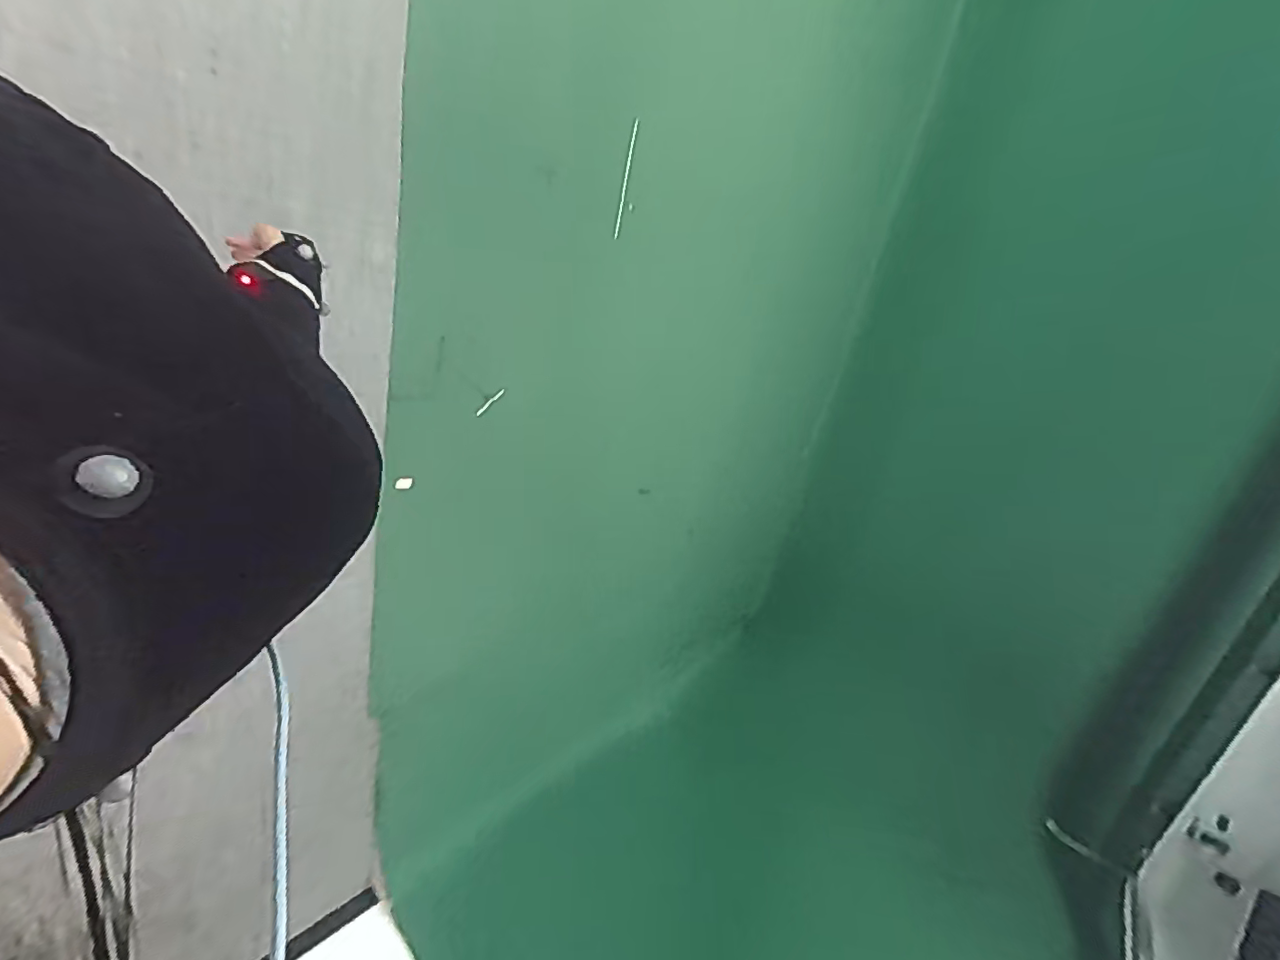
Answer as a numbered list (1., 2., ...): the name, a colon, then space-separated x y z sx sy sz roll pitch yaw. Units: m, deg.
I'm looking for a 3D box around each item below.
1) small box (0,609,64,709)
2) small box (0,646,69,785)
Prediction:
1. small box: -1.294 0.387 1.075 0.179 0.176 0.168 -15 122 -46
2. small box: -1.175 0.435 0.973 0.179 0.176 0.168 -15 122 -47
